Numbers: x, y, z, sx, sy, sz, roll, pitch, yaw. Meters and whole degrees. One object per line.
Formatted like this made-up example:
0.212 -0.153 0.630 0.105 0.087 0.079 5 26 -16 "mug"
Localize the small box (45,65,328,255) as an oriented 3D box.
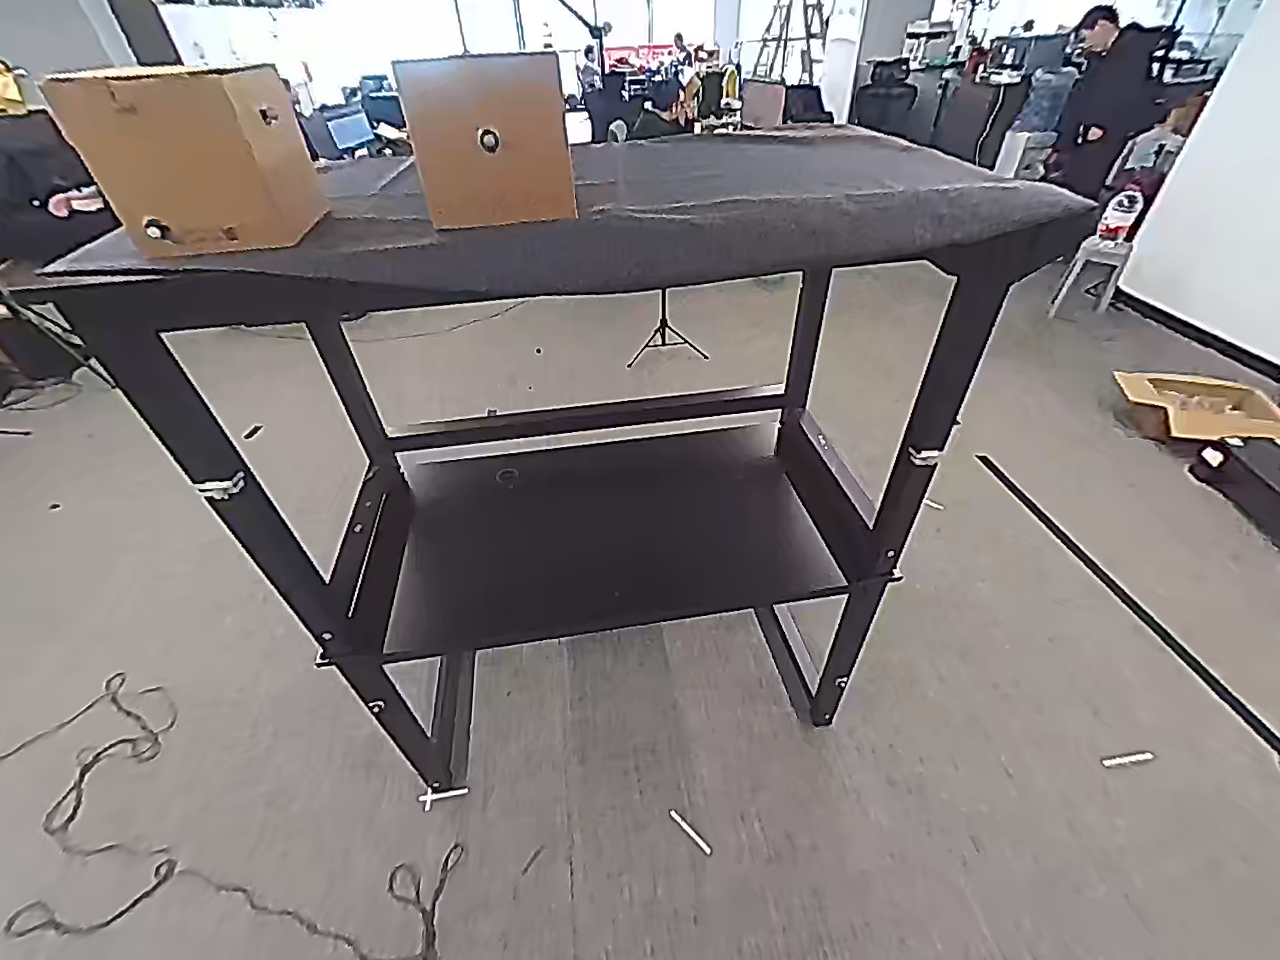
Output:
-0.500 -0.374 0.638 0.168 0.176 0.179 -8 40 -7 "small box"
